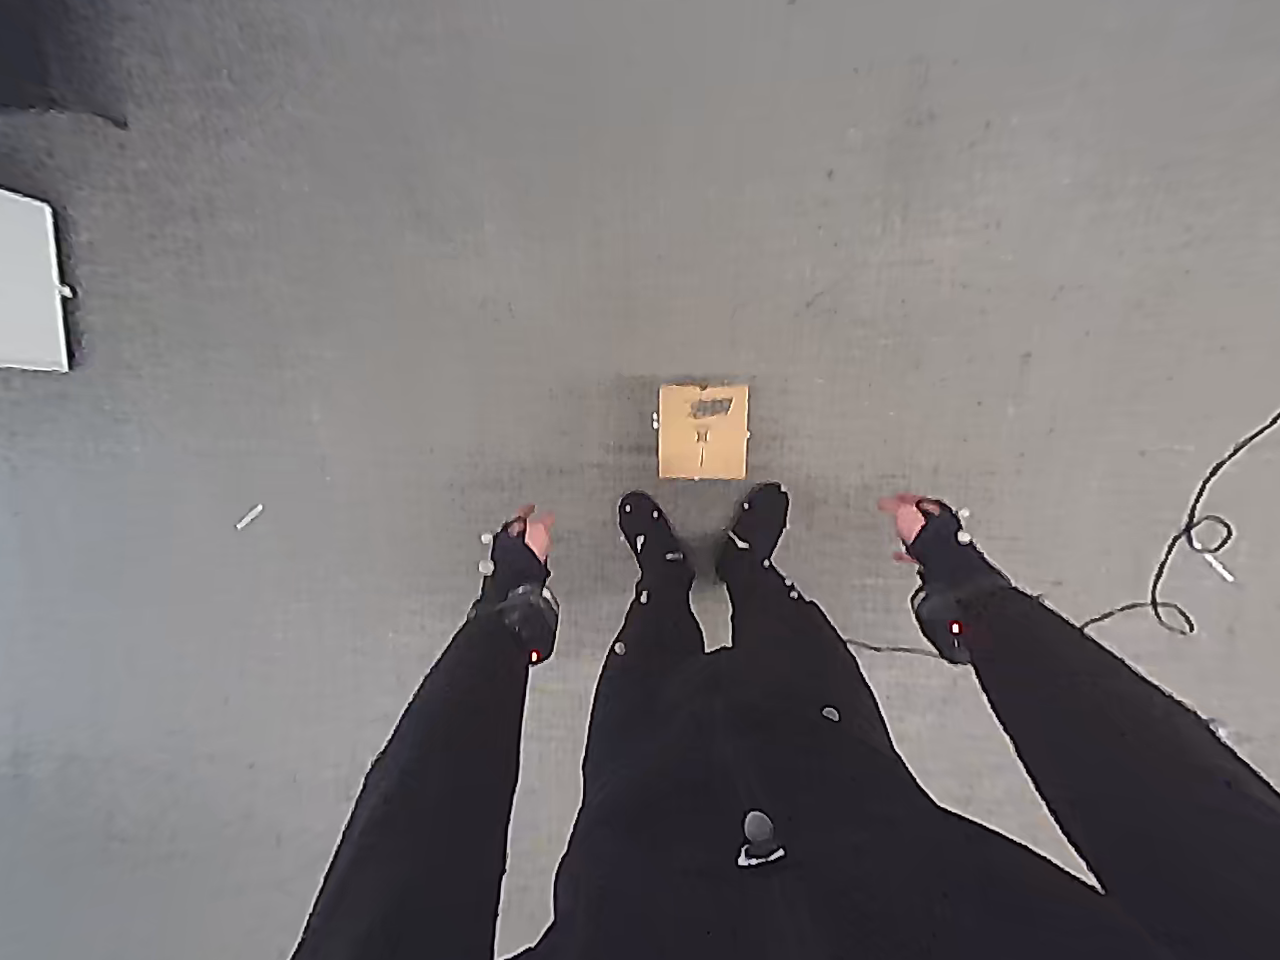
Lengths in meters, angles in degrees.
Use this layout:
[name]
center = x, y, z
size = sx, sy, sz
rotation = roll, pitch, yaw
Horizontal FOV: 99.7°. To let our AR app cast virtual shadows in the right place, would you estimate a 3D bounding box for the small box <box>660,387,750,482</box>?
[small box]
center = 0.125, -0.094, 1.091
size = 0.168, 0.176, 0.179
rotation = 1, 98, 4
